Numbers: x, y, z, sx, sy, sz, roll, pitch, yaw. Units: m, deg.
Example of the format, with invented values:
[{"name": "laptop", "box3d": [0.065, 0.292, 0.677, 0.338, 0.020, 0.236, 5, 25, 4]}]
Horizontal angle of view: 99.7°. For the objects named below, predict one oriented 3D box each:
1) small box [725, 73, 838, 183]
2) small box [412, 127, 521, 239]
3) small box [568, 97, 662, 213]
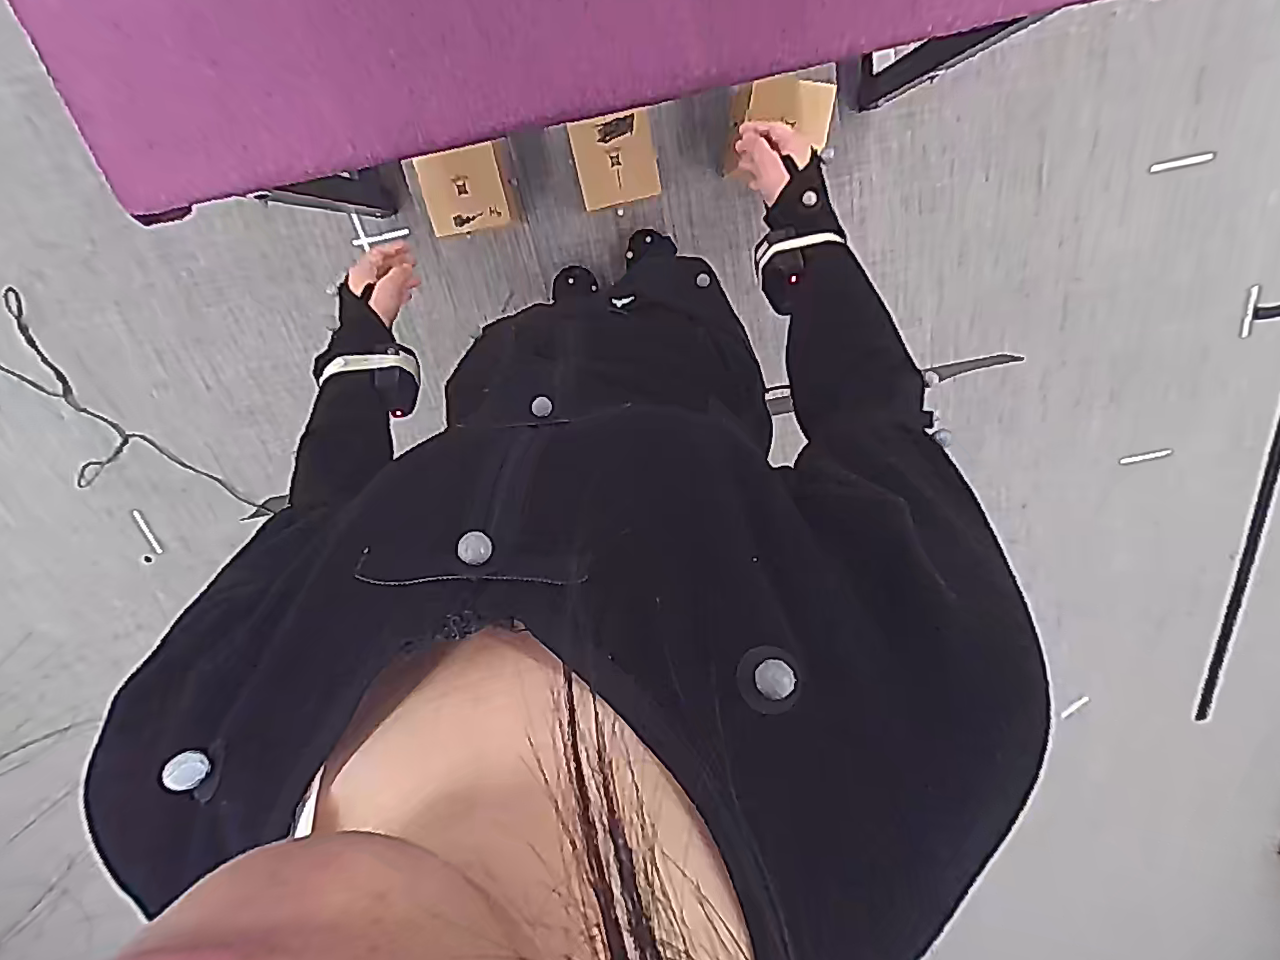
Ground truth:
[{"name": "small box", "box3d": [0.297, -0.752, 1.174, 0.179, 0.176, 0.168, 4, 113, -5]}, {"name": "small box", "box3d": [-0.366, -0.635, 1.175, 0.168, 0.176, 0.179, -10, 112, 0]}, {"name": "small box", "box3d": [-0.055, -0.693, 1.172, 0.168, 0.176, 0.179, -12, 114, 1]}]
